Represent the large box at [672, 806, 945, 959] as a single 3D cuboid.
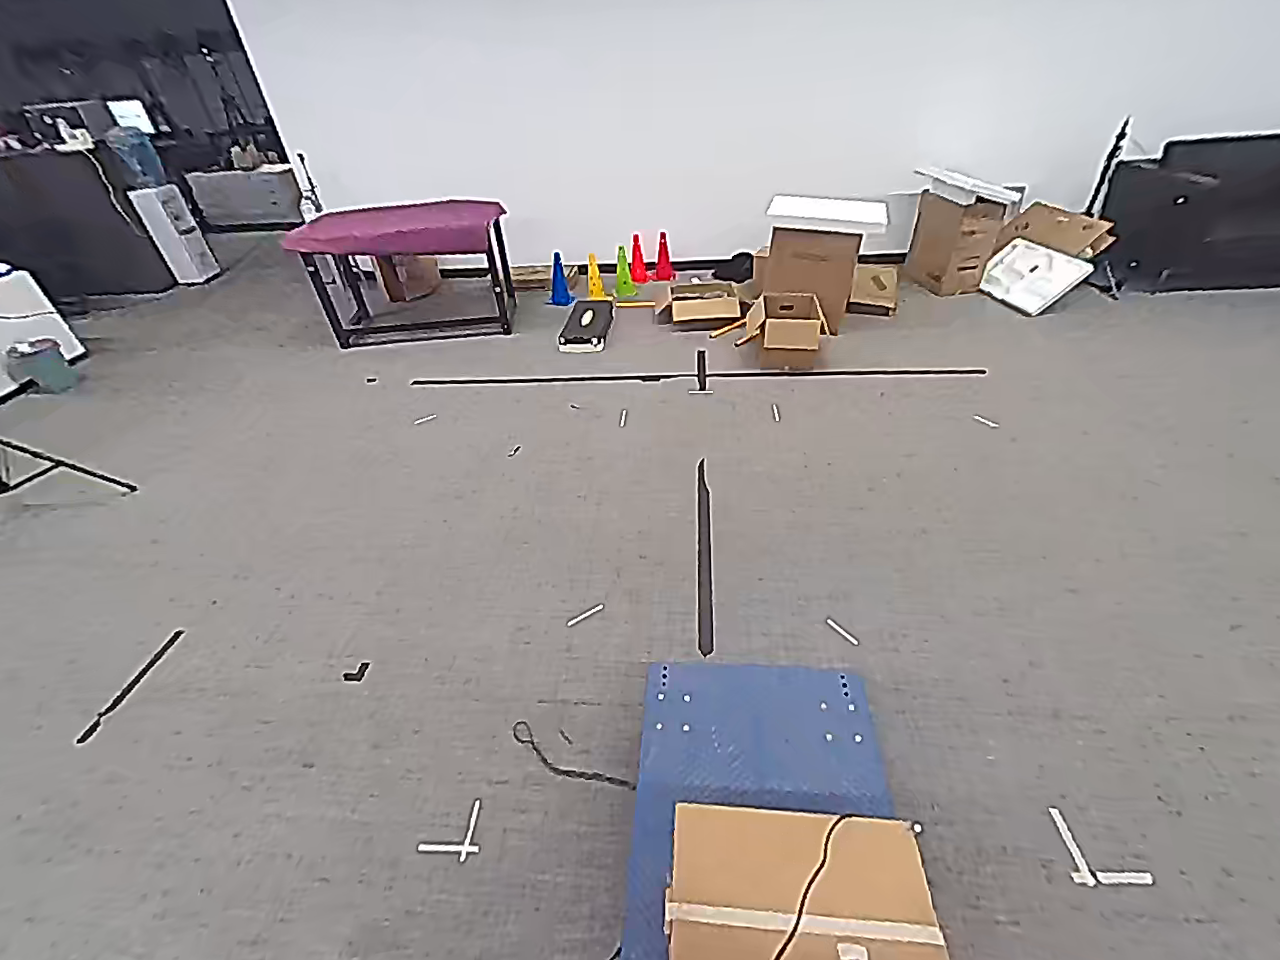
[{"bbox_3d":[0.258,0.798,0.925,0.408,0.320,0.320,2,40,5],"label":"large box"}]
